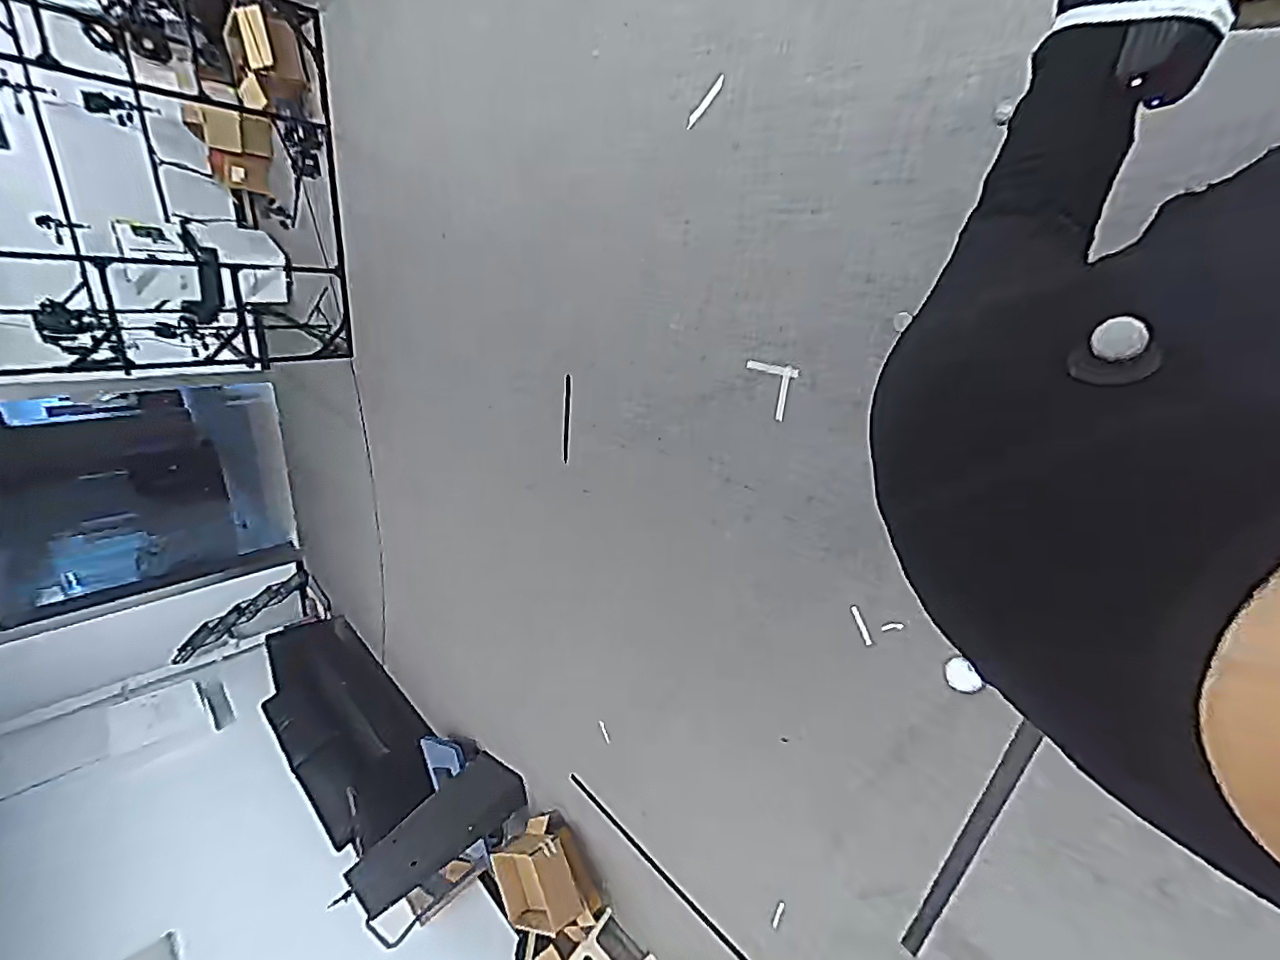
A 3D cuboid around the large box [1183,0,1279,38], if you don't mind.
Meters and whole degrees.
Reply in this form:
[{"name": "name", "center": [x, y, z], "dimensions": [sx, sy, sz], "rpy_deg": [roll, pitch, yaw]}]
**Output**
[{"name": "large box", "center": [0.589, -0.443, 0.254], "dimensions": [0.408, 0.320, 0.320], "rpy_deg": [23, 133, 35]}]
